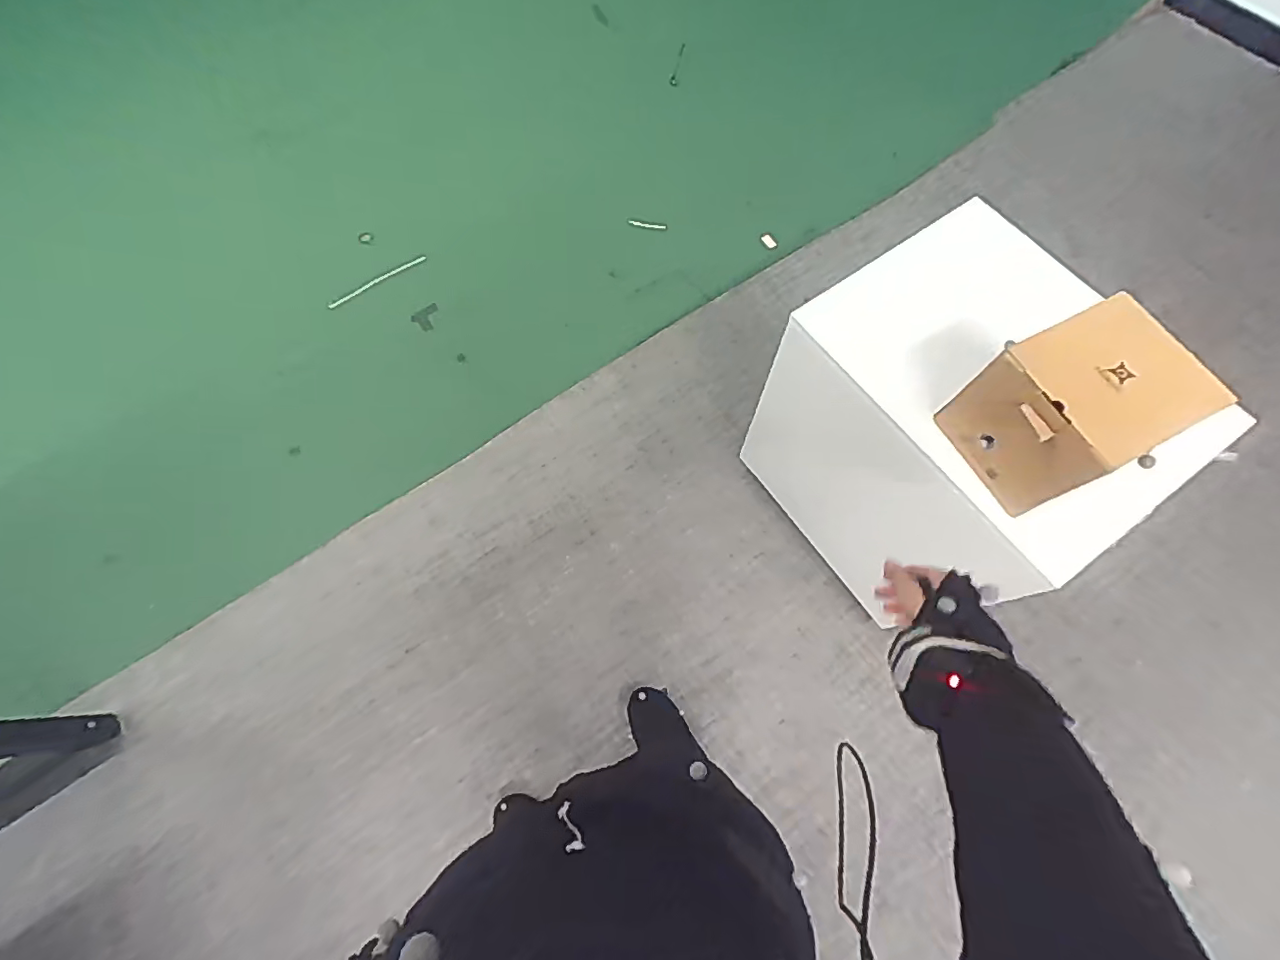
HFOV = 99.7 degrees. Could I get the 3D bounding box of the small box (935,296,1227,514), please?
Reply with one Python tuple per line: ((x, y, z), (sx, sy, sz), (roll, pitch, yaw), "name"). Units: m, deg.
((0.509, -0.081, 0.657), (0.179, 0.176, 0.168), (-26, 72, -8), "small box")
